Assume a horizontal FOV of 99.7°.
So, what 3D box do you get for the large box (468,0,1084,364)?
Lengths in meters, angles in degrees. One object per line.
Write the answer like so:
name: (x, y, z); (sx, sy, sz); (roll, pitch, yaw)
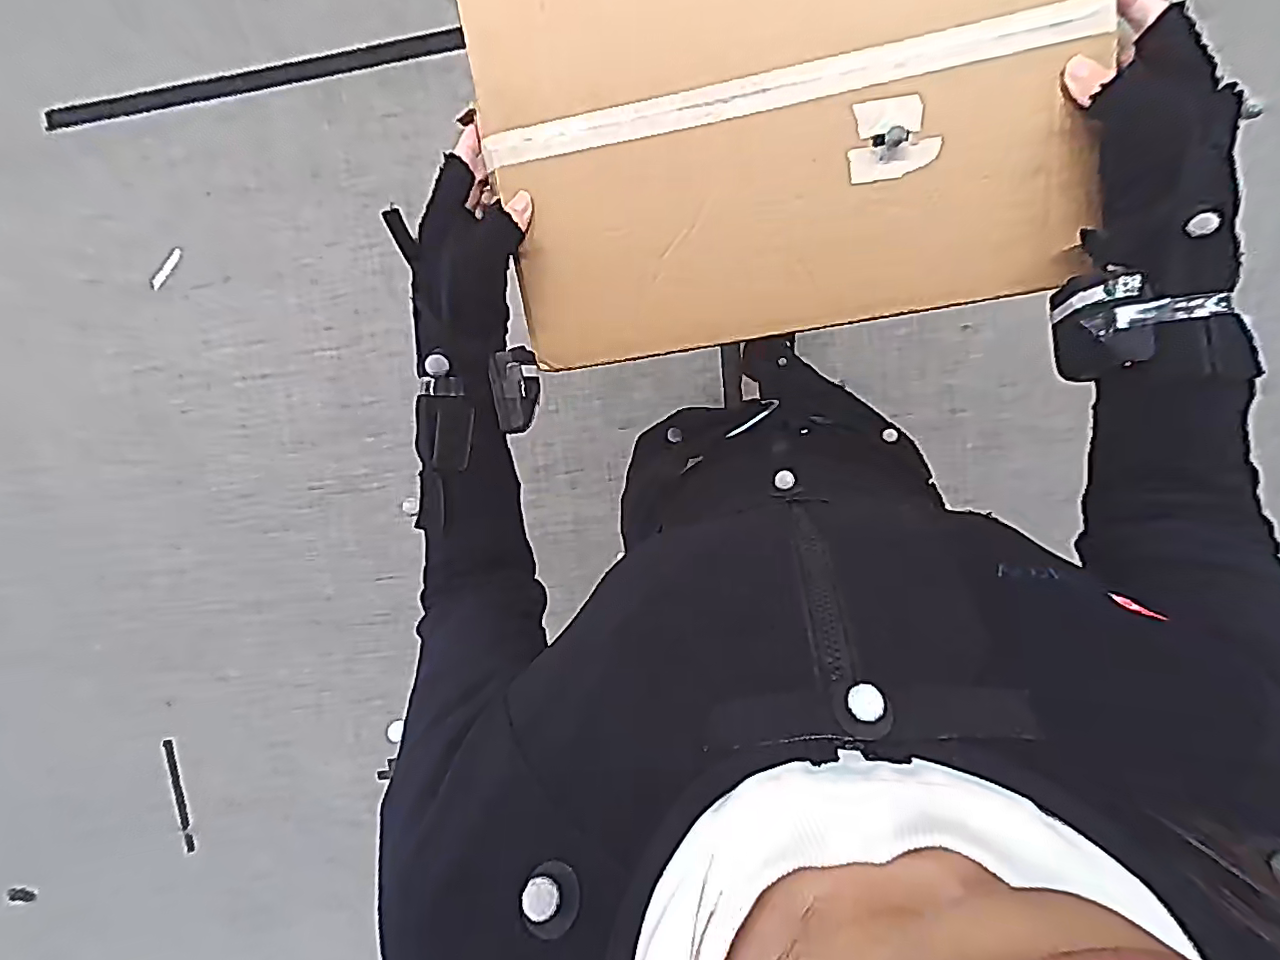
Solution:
large box: (0.103, -0.307, 0.518); (0.408, 0.320, 0.320); (-8, 105, 7)
